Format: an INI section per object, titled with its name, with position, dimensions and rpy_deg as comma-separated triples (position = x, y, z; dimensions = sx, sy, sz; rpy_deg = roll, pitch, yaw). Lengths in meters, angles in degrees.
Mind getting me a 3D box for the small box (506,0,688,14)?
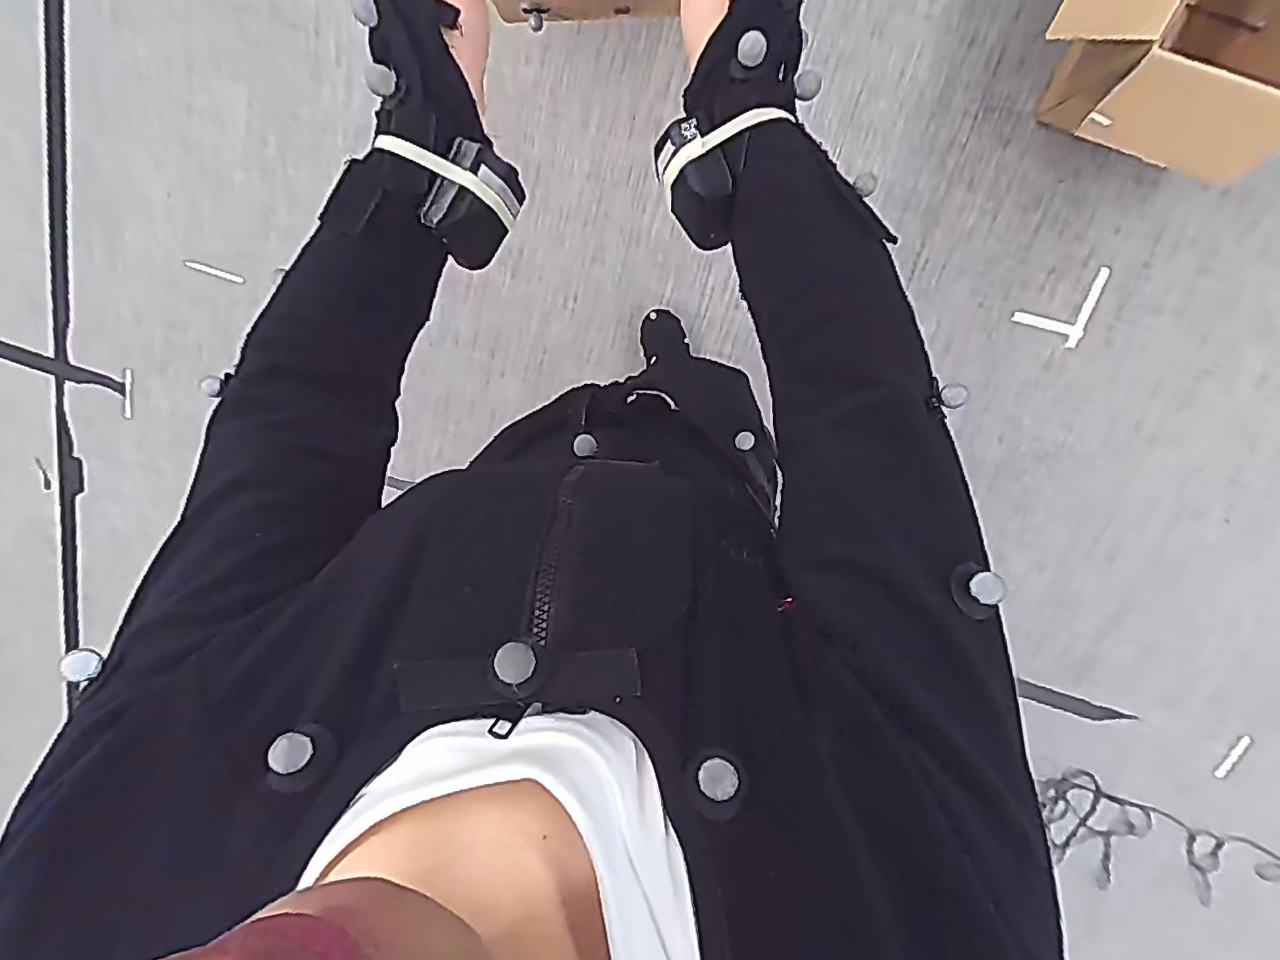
[small box]
position = -0.038, -0.449, 0.365
dimensions = 0.168, 0.176, 0.179
rpy_deg = -2, 112, 0
